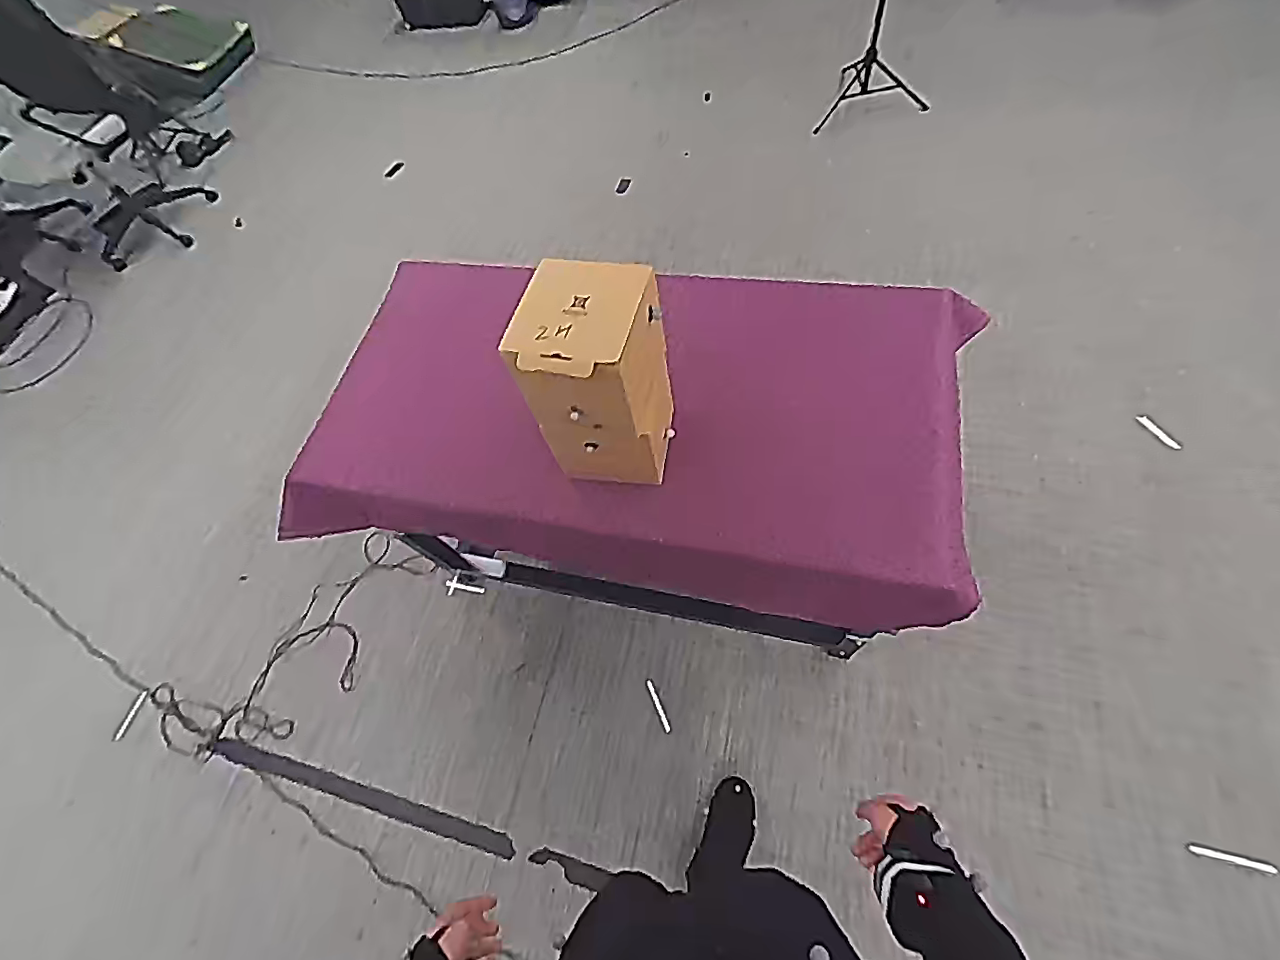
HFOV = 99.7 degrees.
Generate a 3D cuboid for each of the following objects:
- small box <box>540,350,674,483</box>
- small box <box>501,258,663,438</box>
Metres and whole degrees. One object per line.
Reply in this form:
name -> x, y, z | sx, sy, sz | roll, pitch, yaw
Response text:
small box -> -0.045, -0.106, 0.916 | 0.179, 0.176, 0.168 | 5, 64, 11
small box -> -0.068, -0.186, 0.774 | 0.168, 0.176, 0.179 | 10, 64, 15
